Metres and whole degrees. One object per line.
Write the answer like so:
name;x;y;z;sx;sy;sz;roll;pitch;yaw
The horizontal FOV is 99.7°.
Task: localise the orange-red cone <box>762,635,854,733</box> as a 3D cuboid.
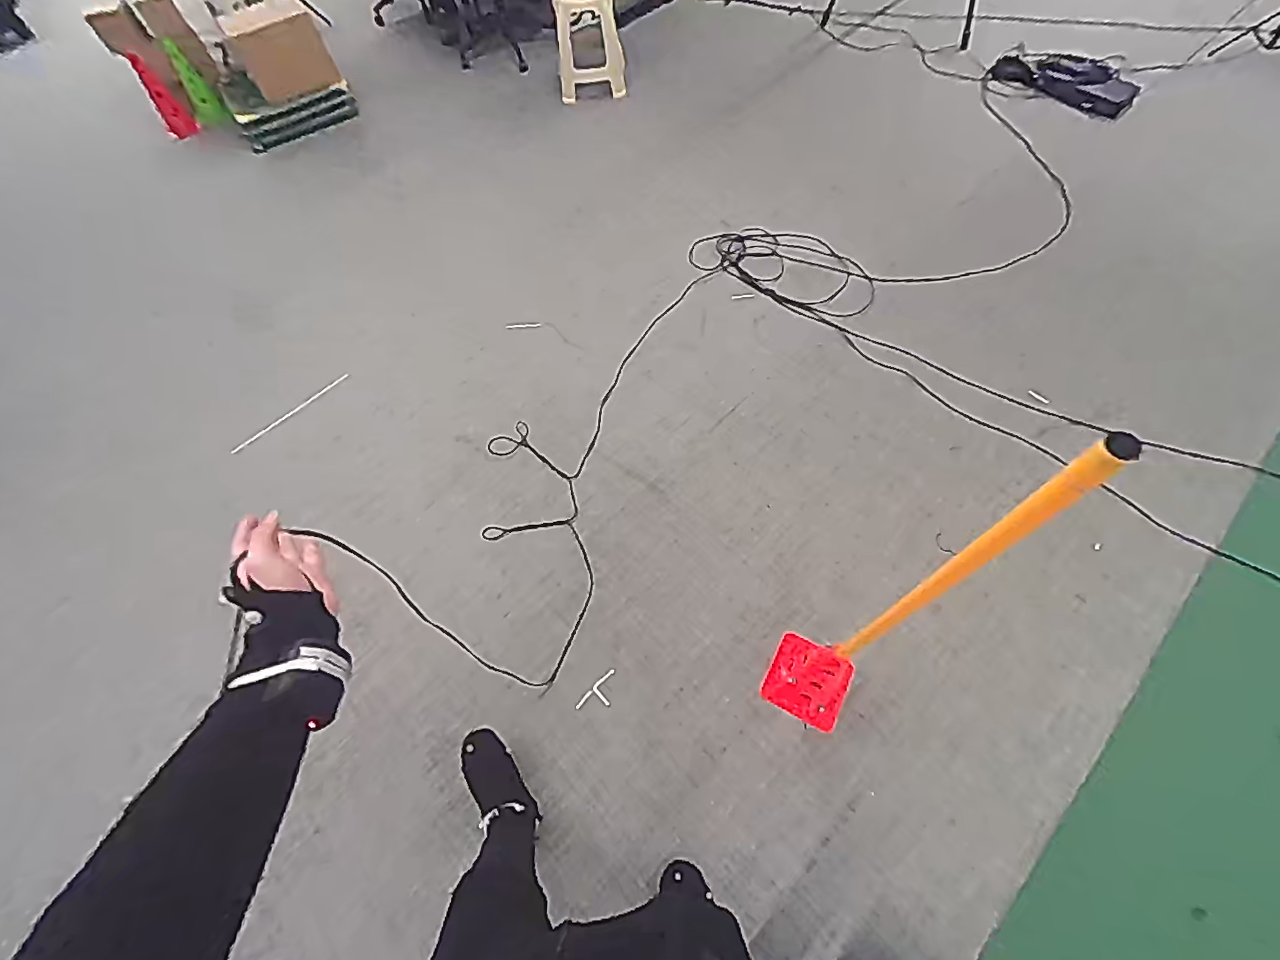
orange-red cone;0.436;0.451;1.285;0.198;0.360;0.199;27;65;17
